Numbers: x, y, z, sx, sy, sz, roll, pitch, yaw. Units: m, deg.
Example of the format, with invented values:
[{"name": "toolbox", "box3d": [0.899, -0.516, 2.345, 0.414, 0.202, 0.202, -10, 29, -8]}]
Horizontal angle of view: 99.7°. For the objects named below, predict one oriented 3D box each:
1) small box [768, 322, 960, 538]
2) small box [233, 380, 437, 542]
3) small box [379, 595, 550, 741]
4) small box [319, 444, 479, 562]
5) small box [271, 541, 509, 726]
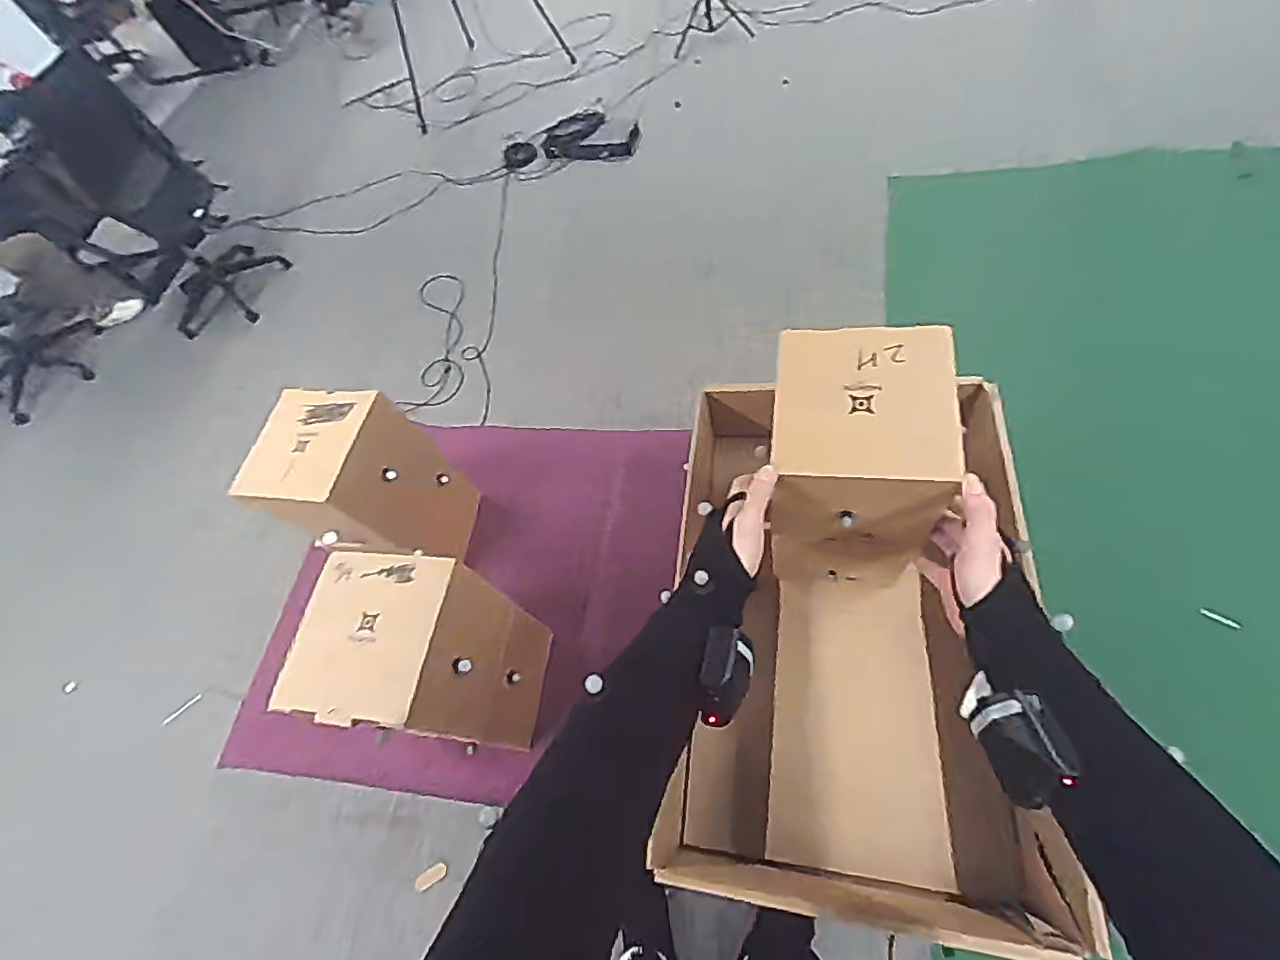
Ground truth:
[{"name": "small box", "box3d": [0.233, -0.047, 0.590, 0.168, 0.176, 0.179, 4, 65, 16]}, {"name": "small box", "box3d": [-0.431, -0.026, 0.801, 0.168, 0.176, 0.179, 4, 64, 16]}, {"name": "small box", "box3d": [-0.245, 0.270, 0.786, 0.168, 0.176, 0.179, 3, 61, 14]}, {"name": "small box", "box3d": [-0.404, 0.053, 0.943, 0.168, 0.176, 0.179, 0, 62, 14]}, {"name": "small box", "box3d": [-0.277, 0.188, 0.647, 0.168, 0.176, 0.179, 2, 62, 13]}]
